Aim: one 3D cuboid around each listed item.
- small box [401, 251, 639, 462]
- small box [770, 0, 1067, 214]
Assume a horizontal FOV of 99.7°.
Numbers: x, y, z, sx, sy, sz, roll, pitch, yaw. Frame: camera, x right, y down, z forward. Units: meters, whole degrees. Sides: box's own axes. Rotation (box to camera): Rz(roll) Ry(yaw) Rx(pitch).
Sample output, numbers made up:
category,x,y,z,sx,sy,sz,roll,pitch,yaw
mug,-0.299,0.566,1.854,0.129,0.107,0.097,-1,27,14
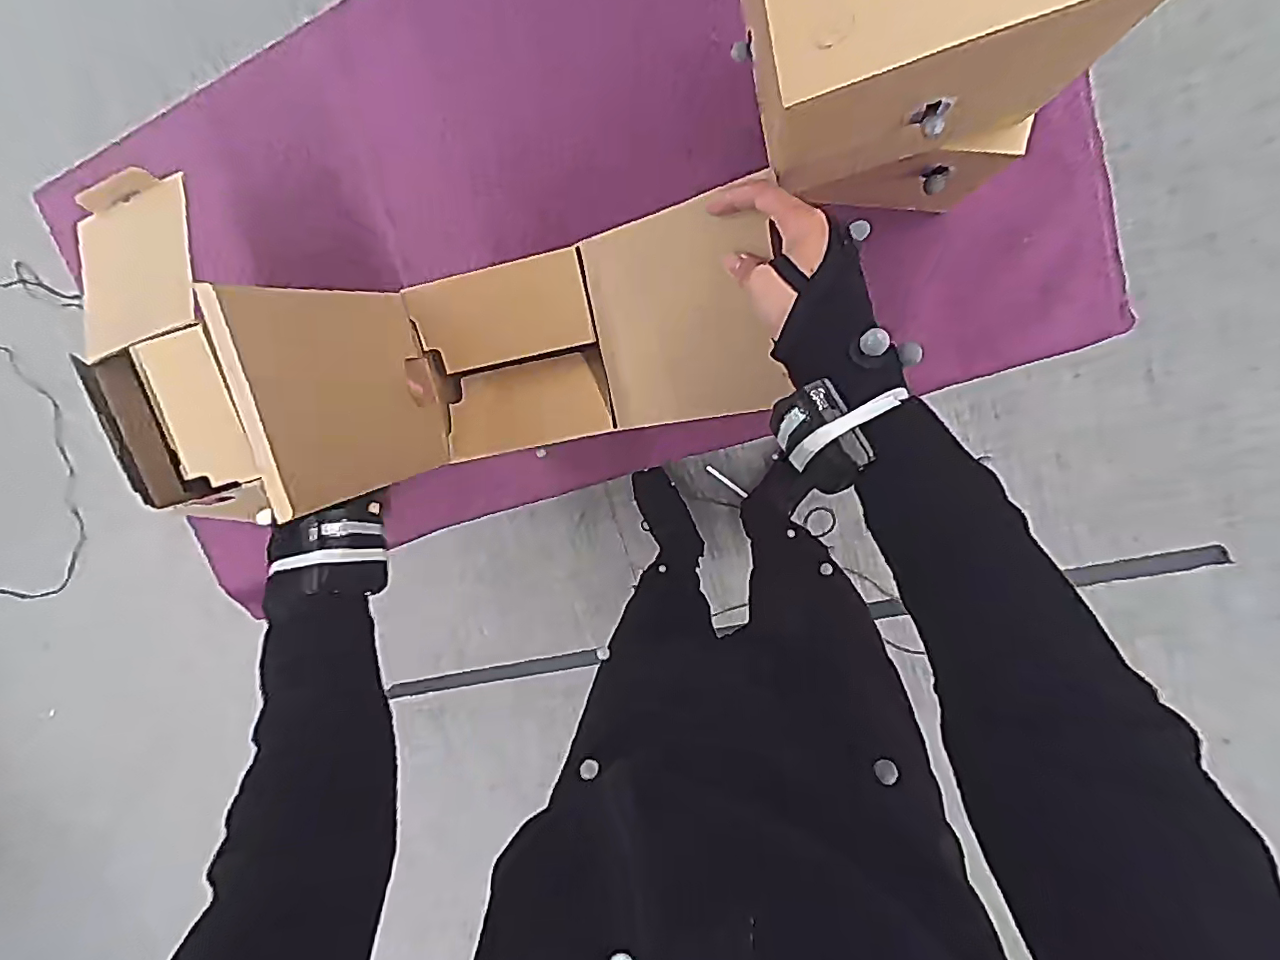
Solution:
category,x,y,z,sx,sy,sz,roll,pitch,yaw
small box,-0.109,-0.124,0.568,0.179,0.176,0.168,-9,102,10
small box,0.212,-0.334,0.451,0.179,0.176,0.168,11,105,10
